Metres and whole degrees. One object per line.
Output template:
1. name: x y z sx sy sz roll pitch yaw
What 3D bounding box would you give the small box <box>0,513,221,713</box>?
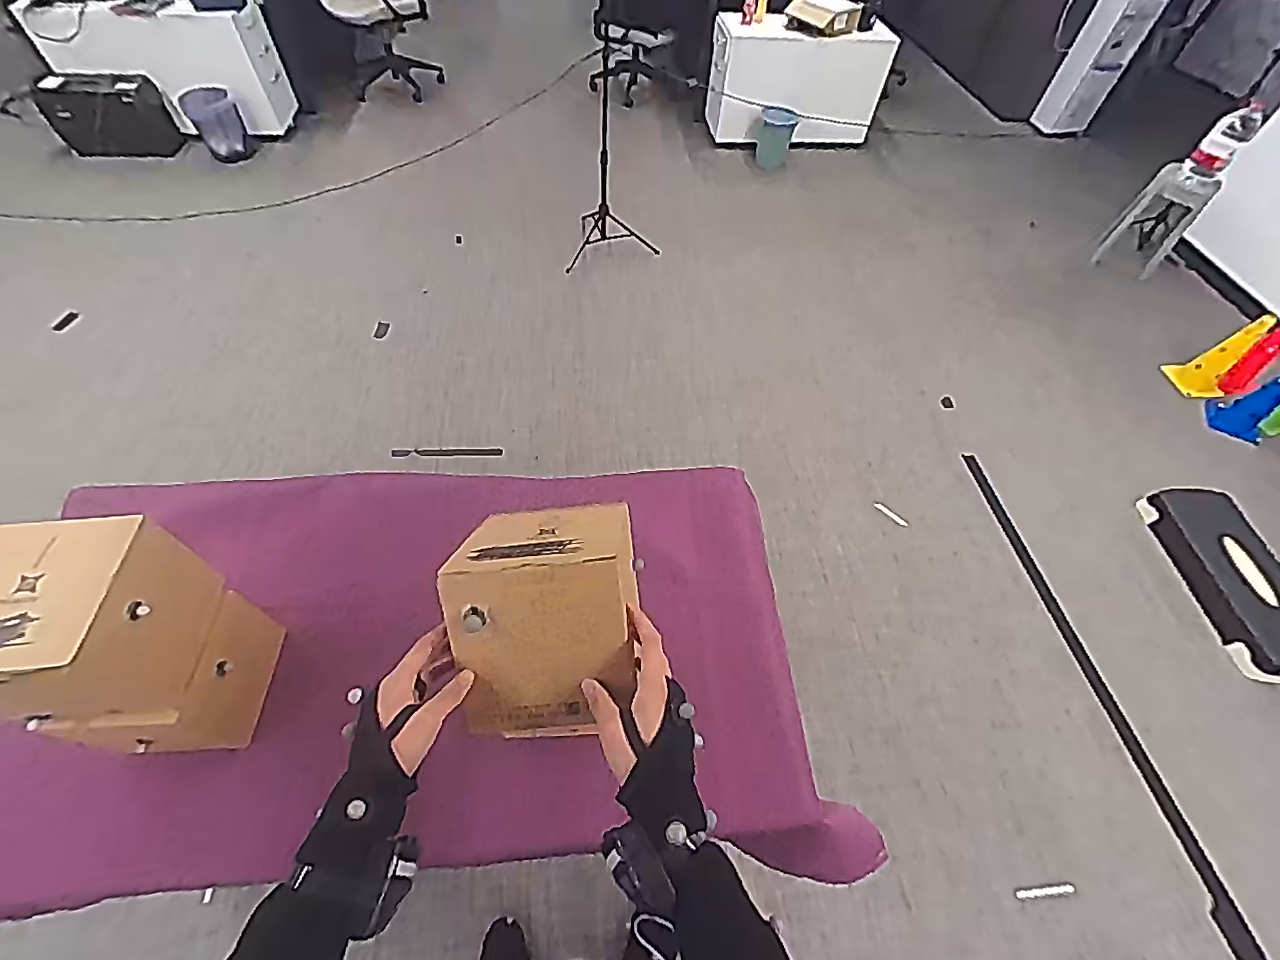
1. small box: -0.633 0.159 0.622 0.168 0.176 0.179 -3 55 -7

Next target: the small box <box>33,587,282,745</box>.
1. small box: -0.639 0.262 0.750 0.168 0.176 0.179 1 55 -5

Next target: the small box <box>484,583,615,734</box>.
1. small box: -0.120 0.266 0.790 0.168 0.176 0.179 0 54 -4
